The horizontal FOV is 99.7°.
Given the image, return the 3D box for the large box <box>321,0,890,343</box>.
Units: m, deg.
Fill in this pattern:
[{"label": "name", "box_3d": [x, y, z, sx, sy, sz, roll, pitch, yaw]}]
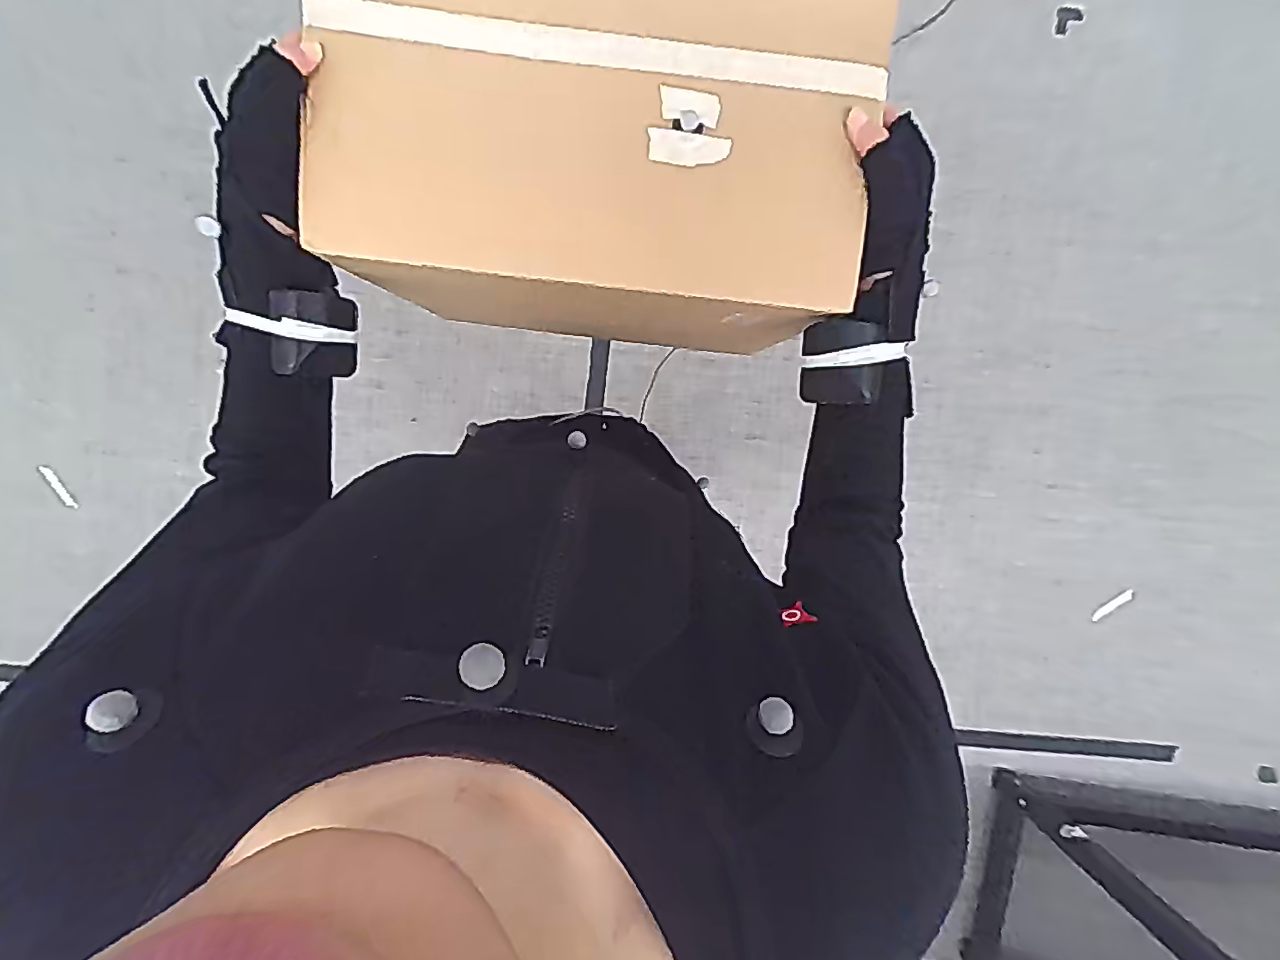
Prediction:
[{"label": "large box", "box_3d": [-0.031, -0.326, 0.535, 0.408, 0.320, 0.320, 6, 98, -3]}]
